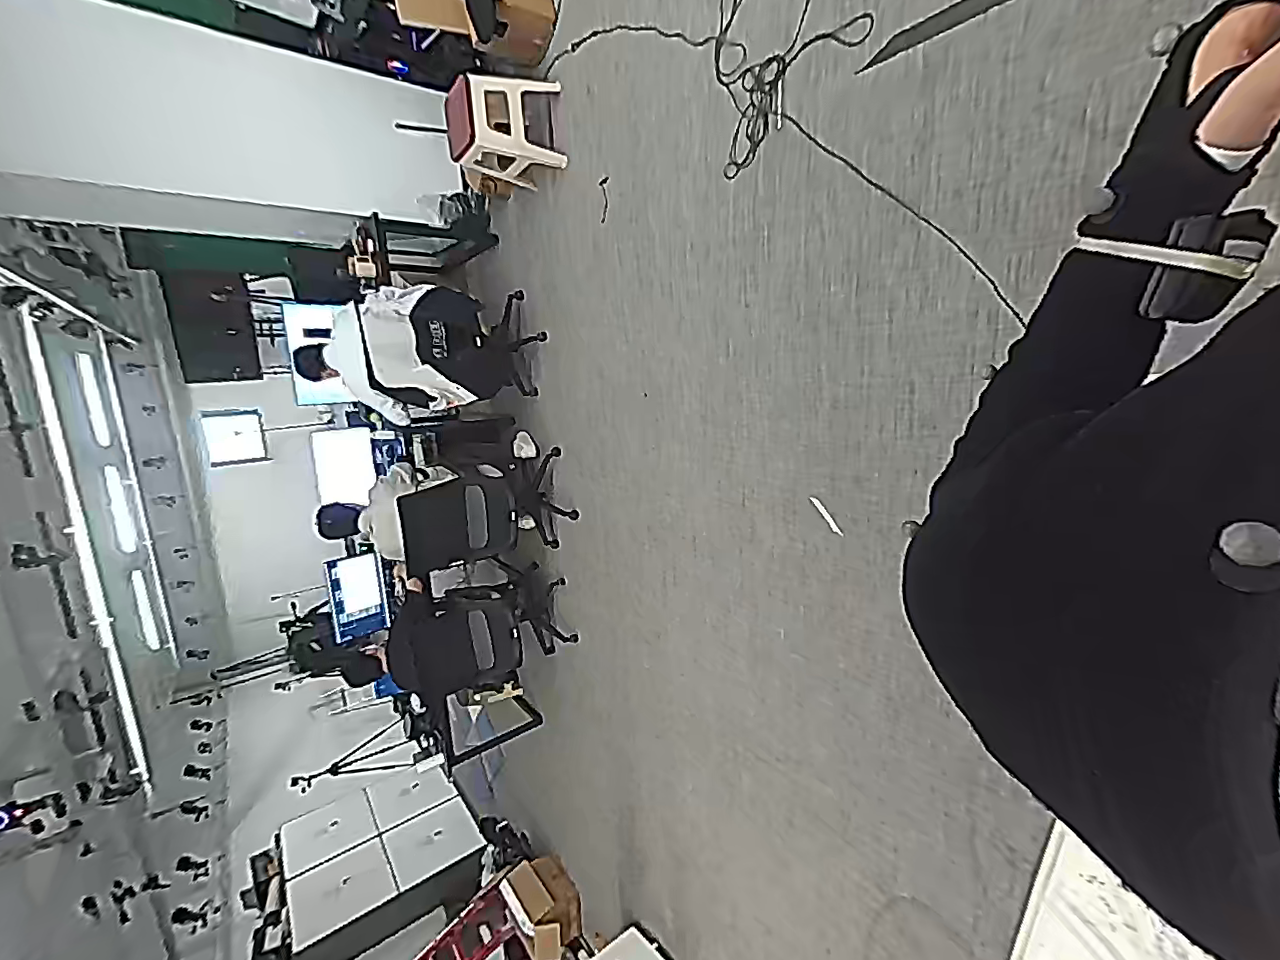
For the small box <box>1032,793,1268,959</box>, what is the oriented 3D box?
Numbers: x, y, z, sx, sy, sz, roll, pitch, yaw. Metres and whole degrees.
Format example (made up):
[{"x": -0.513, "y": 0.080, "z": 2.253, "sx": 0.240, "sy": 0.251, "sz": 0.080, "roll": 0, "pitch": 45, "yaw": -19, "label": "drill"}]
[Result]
[{"x": 0.646, "y": 0.555, "z": 0.691, "sx": 0.168, "sy": 0.176, "sz": 0.179, "roll": 24, "pitch": 117, "yaw": 51, "label": "small box"}]
